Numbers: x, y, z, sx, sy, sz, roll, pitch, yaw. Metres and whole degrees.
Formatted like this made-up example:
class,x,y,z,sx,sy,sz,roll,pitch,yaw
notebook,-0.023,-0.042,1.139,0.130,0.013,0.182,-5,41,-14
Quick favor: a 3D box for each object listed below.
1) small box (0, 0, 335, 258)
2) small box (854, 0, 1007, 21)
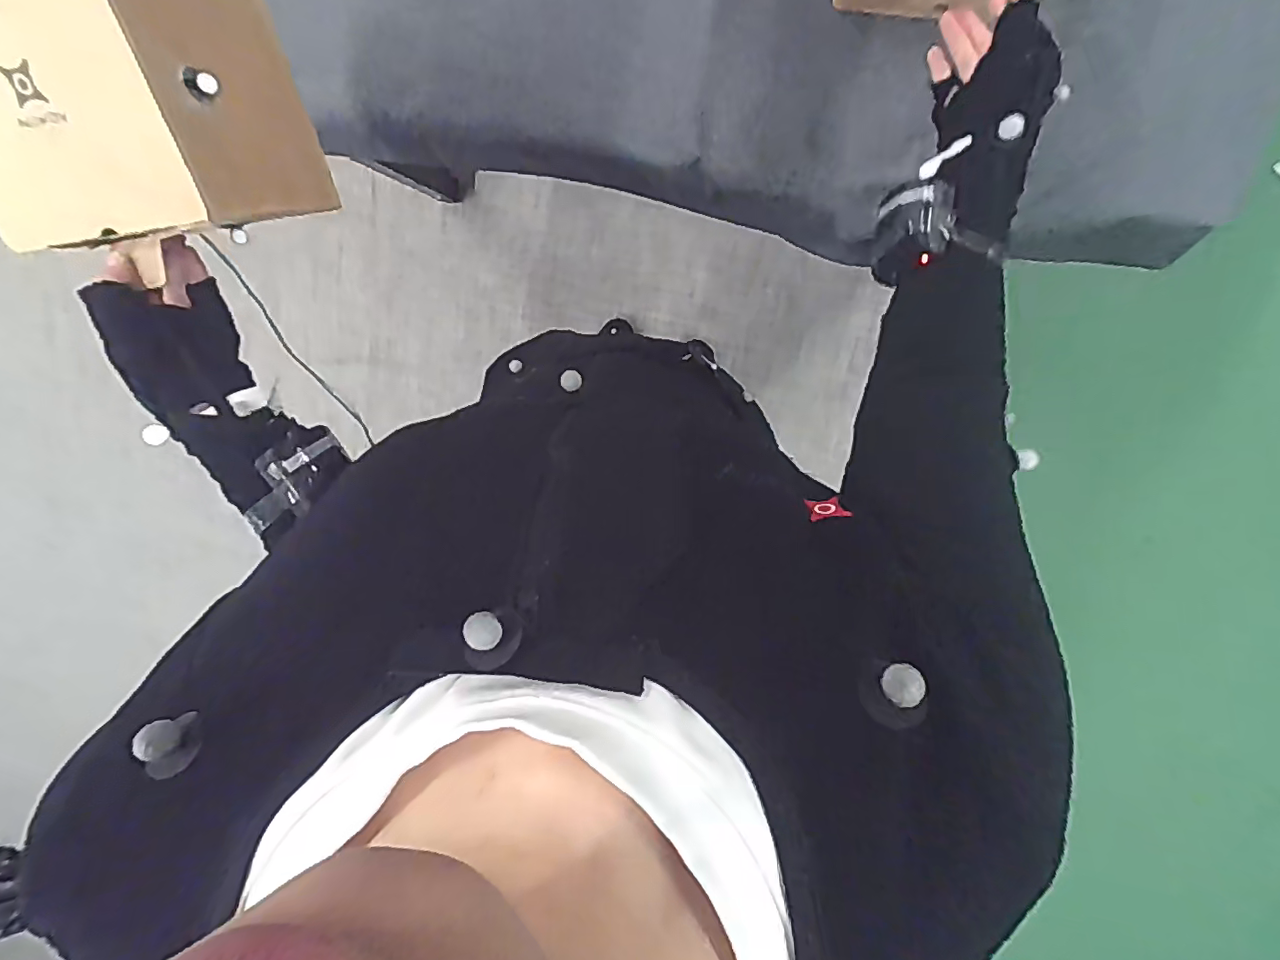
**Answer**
class,x,y,z,sx,sy,sz,roll,pitch,yaw
small box,-0.372,-0.280,0.404,0.168,0.176,0.179,-6,119,7
small box,0.282,-0.532,0.454,0.168,0.176,0.179,7,108,1
